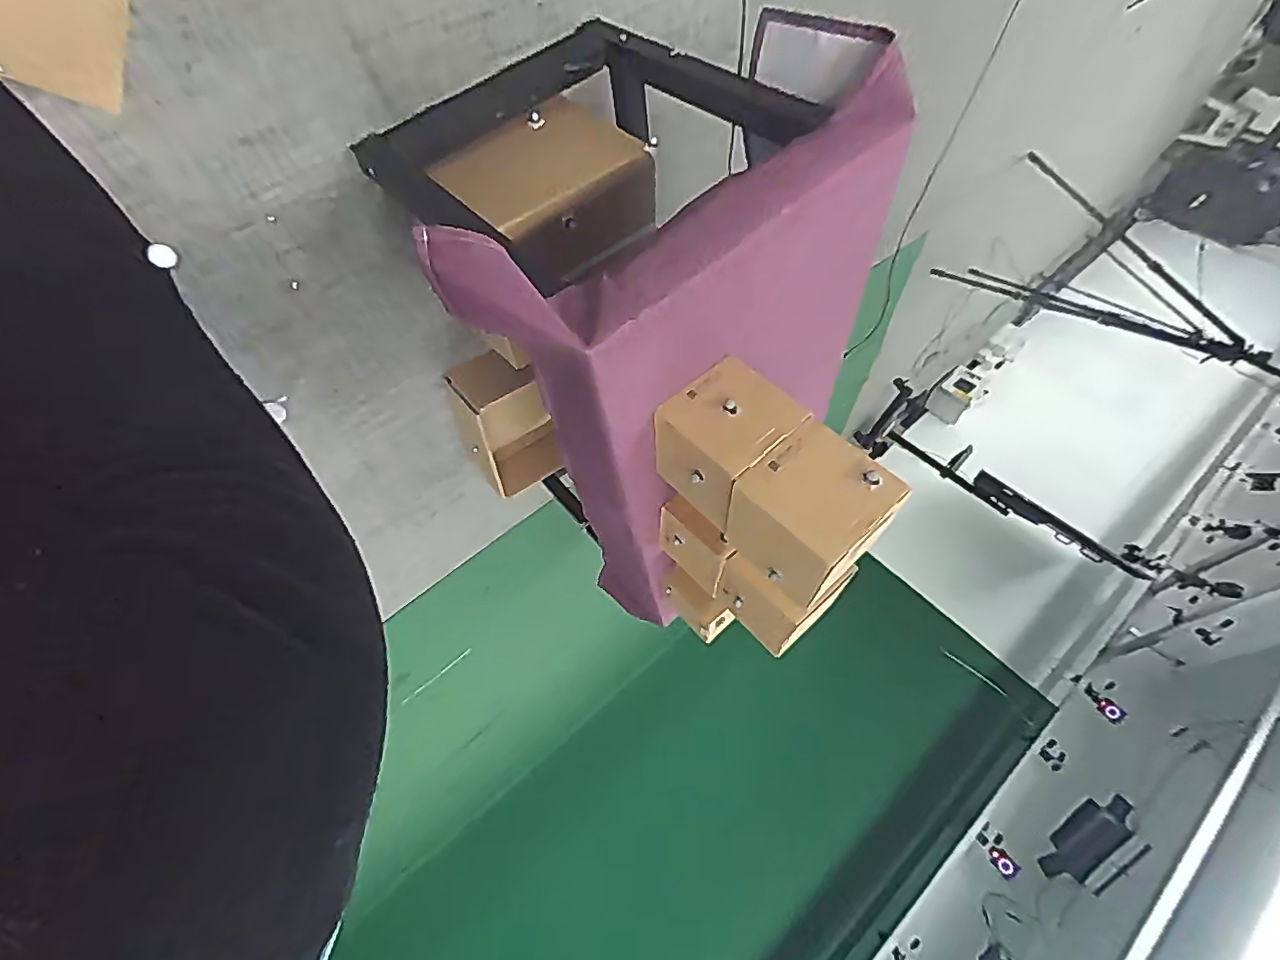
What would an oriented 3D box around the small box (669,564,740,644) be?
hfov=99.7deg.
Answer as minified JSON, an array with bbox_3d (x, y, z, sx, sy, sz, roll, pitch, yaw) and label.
[{"bbox_3d":[0.186,0.279,1.378,0.179,0.176,0.168,-38,152,-18],"label":"small box"}]

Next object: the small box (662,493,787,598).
[{"bbox_3d":[0.167,0.102,1.111,0.179,0.176,0.168,-34,151,-21],"label":"small box"}]

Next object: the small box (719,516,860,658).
[{"bbox_3d":[0.280,0.201,1.041,0.179,0.176,0.168,-34,150,-22],"label":"small box"}]

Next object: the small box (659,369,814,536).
[{"bbox_3d":[0.143,-0.051,0.857,0.168,0.176,0.179,-37,151,-17],"label":"small box"}]
